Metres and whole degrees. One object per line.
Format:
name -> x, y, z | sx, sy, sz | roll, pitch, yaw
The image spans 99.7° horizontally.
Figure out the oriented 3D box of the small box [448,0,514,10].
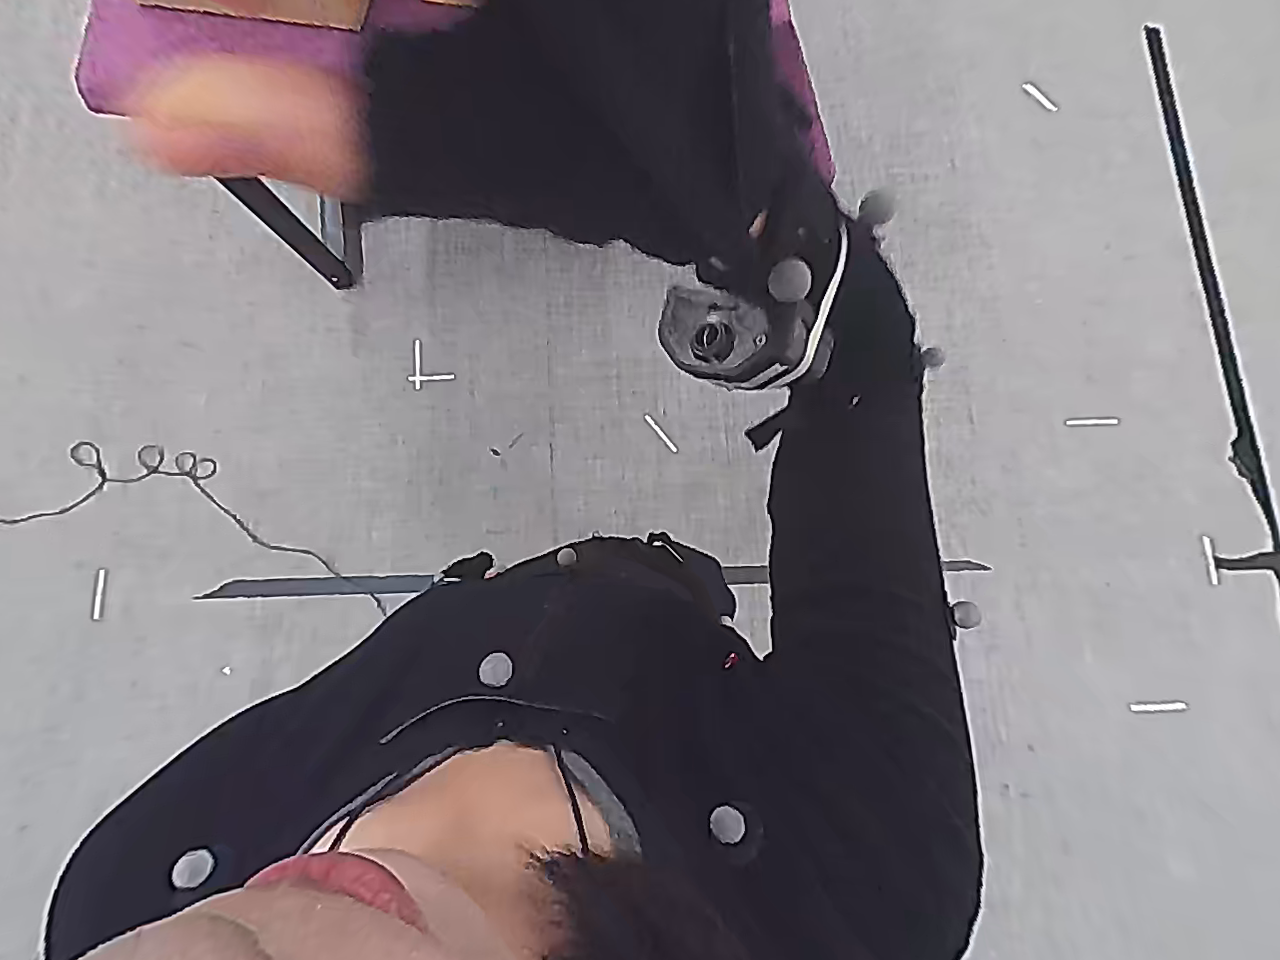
small box -> -0.288, -0.928, 0.877 | 0.168, 0.176, 0.179 | 8, 82, 1
